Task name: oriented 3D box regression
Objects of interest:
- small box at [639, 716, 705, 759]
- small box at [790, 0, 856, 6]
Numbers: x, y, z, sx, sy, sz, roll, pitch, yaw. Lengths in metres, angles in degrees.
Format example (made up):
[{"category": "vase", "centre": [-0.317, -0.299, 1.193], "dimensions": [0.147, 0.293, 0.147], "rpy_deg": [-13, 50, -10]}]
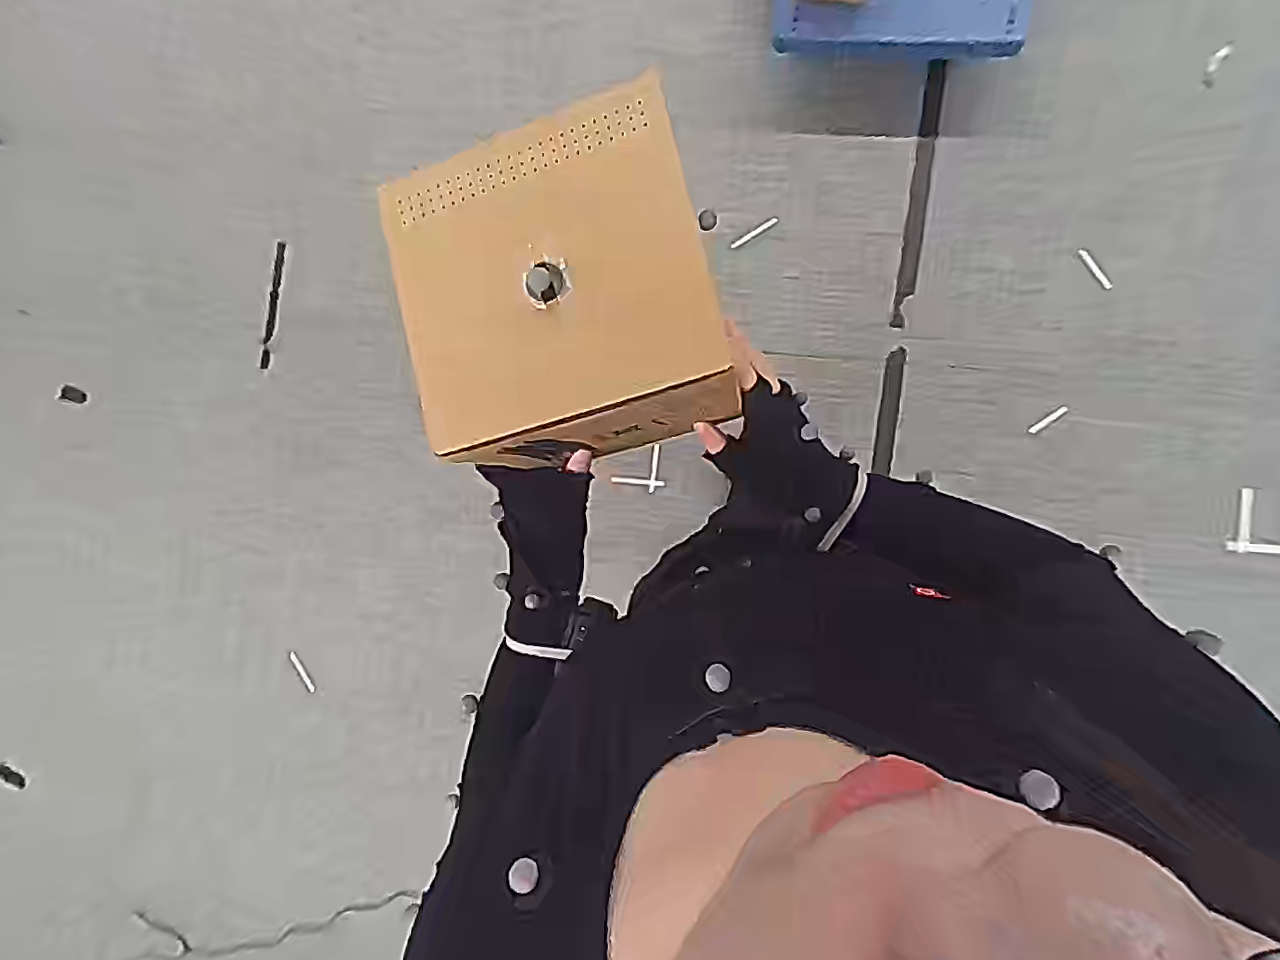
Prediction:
[{"category": "small box", "centre": [0.080, 0.761, 1.435], "dimensions": [0.168, 0.176, 0.179], "rpy_deg": [9, 91, 7]}, {"category": "small box", "centre": [0.439, -1.203, 1.197], "dimensions": [0.179, 0.176, 0.168], "rpy_deg": [11, 91, 8]}]
